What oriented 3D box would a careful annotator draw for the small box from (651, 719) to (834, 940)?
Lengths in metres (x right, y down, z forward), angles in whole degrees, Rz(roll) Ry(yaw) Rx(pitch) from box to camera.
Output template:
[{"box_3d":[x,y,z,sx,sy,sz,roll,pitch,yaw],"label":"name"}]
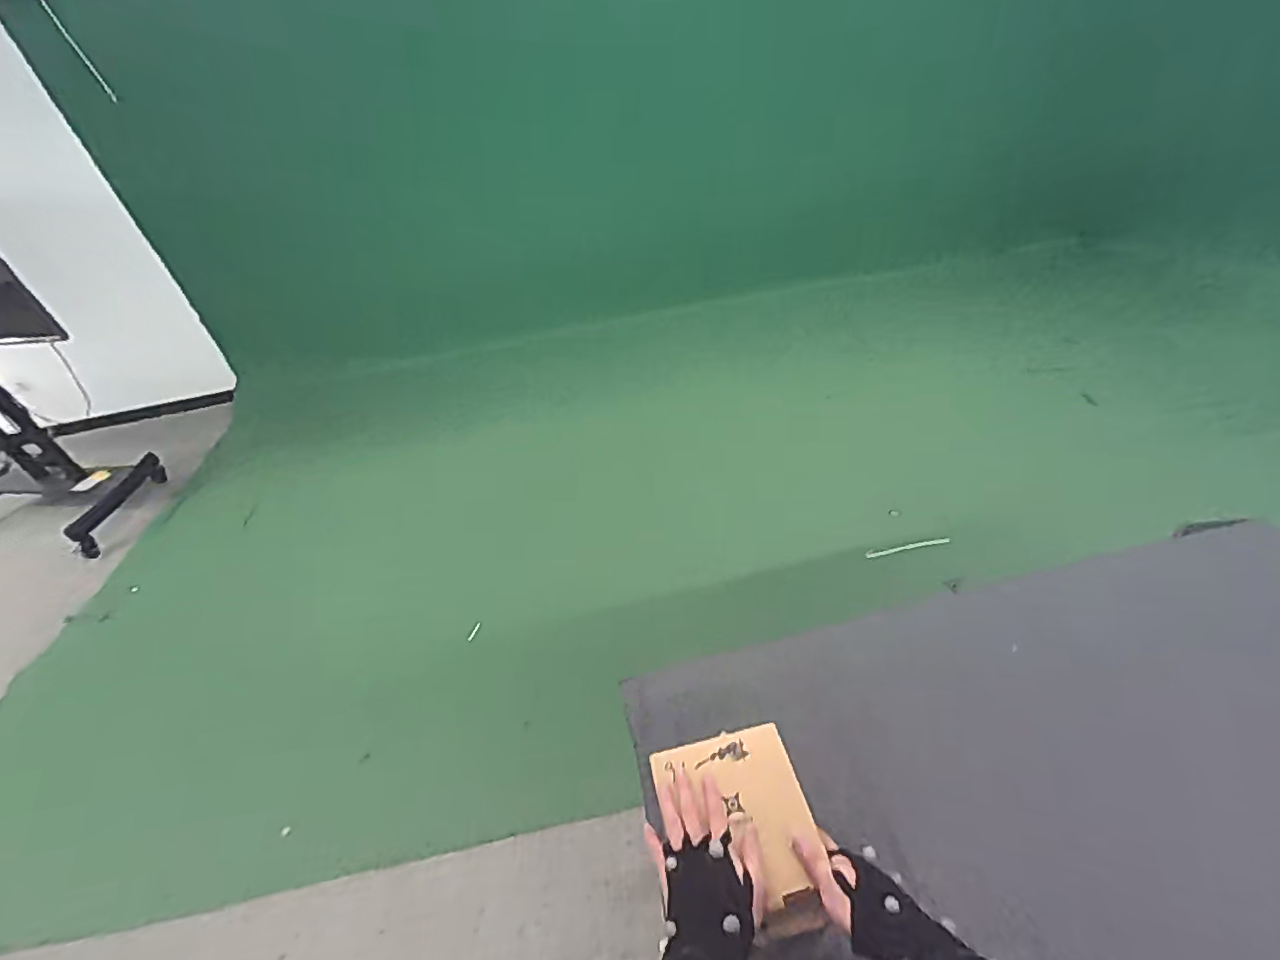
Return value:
[{"box_3d":[0.116,0.430,0.662,0.168,0.176,0.179,-11,41,-5],"label":"small box"}]
